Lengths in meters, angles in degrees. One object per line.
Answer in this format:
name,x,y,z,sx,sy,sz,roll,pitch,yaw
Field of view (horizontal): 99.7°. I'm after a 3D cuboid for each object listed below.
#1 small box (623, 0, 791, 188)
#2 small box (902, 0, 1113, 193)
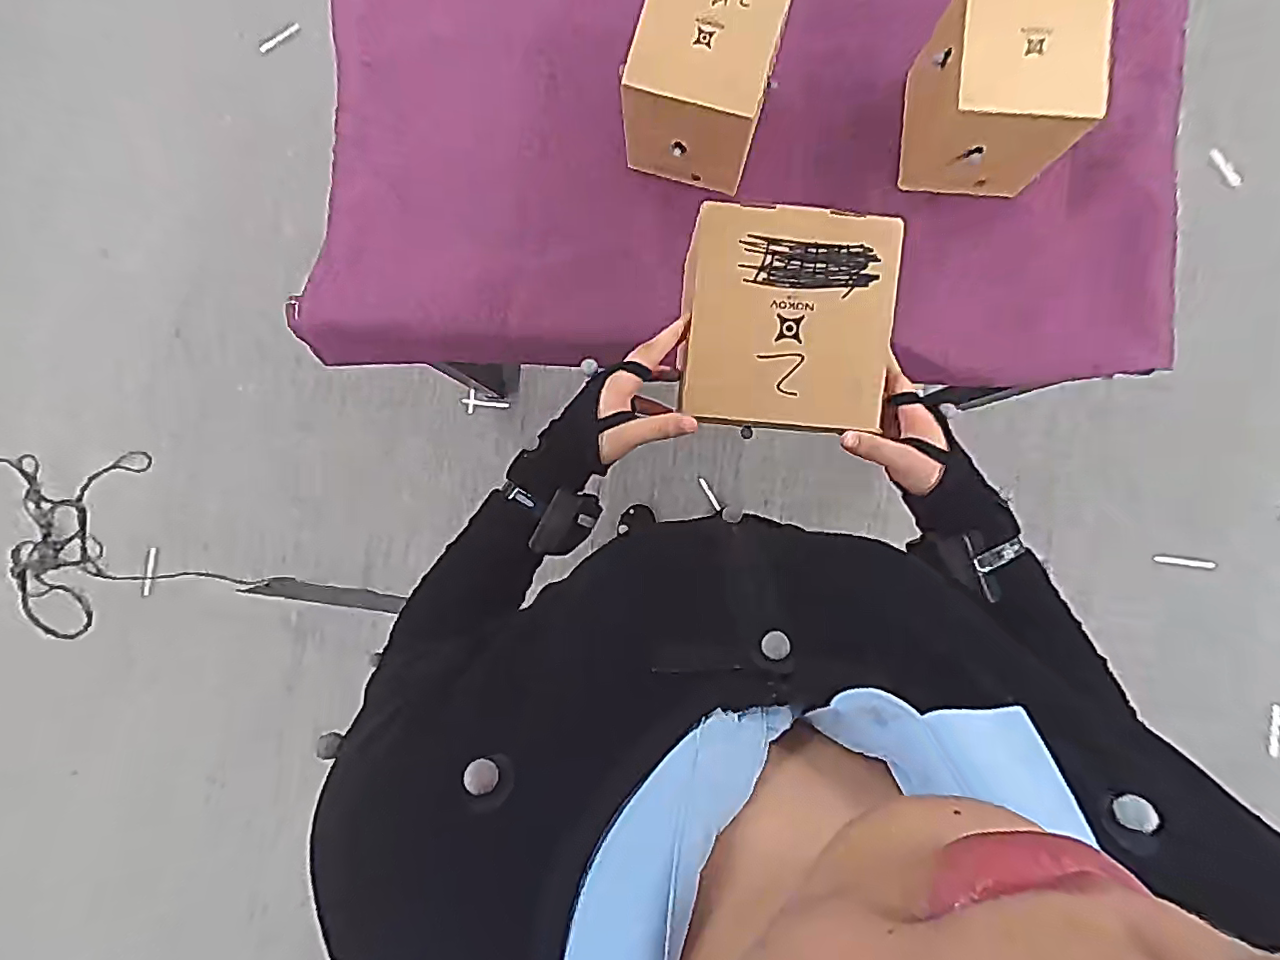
small box,0.085,-0.529,0.720,0.168,0.176,0.179,17,89,2
small box,0.462,-0.505,0.706,0.168,0.176,0.179,6,87,3
